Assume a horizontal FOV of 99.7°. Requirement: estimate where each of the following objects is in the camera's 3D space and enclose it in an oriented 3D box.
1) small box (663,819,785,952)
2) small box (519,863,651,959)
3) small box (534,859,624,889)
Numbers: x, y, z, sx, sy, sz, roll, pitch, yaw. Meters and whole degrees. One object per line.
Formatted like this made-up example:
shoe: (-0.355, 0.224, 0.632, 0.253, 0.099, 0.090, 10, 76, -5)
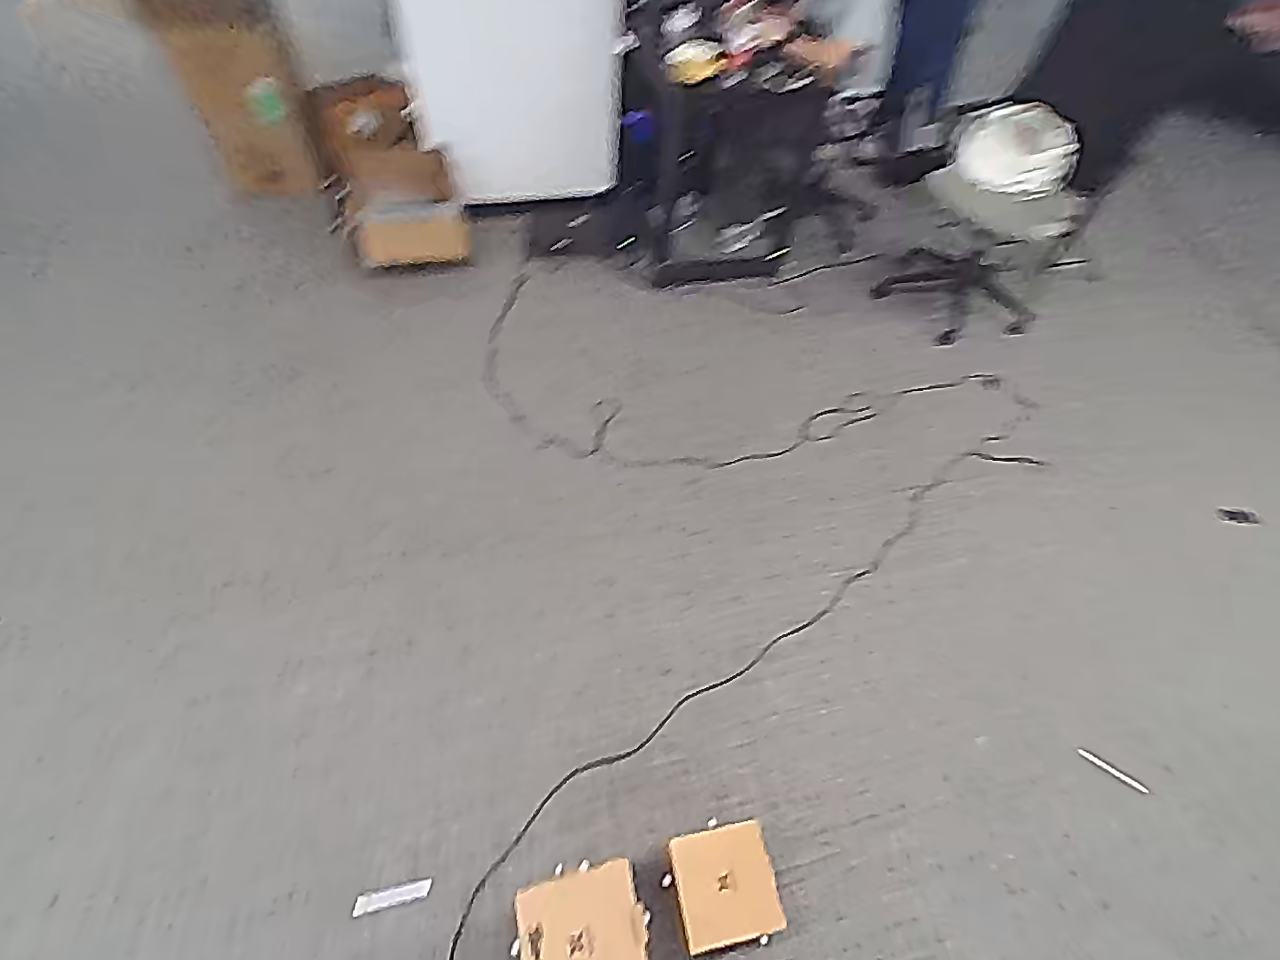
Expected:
small box: (0.146, 0.766, 1.026, 0.179, 0.176, 0.168, -7, 54, -11)
small box: (-0.084, 0.715, 0.838, 0.179, 0.176, 0.168, -10, 54, -12)
small box: (-0.094, 0.810, 0.971, 0.168, 0.176, 0.179, -10, 55, -11)
